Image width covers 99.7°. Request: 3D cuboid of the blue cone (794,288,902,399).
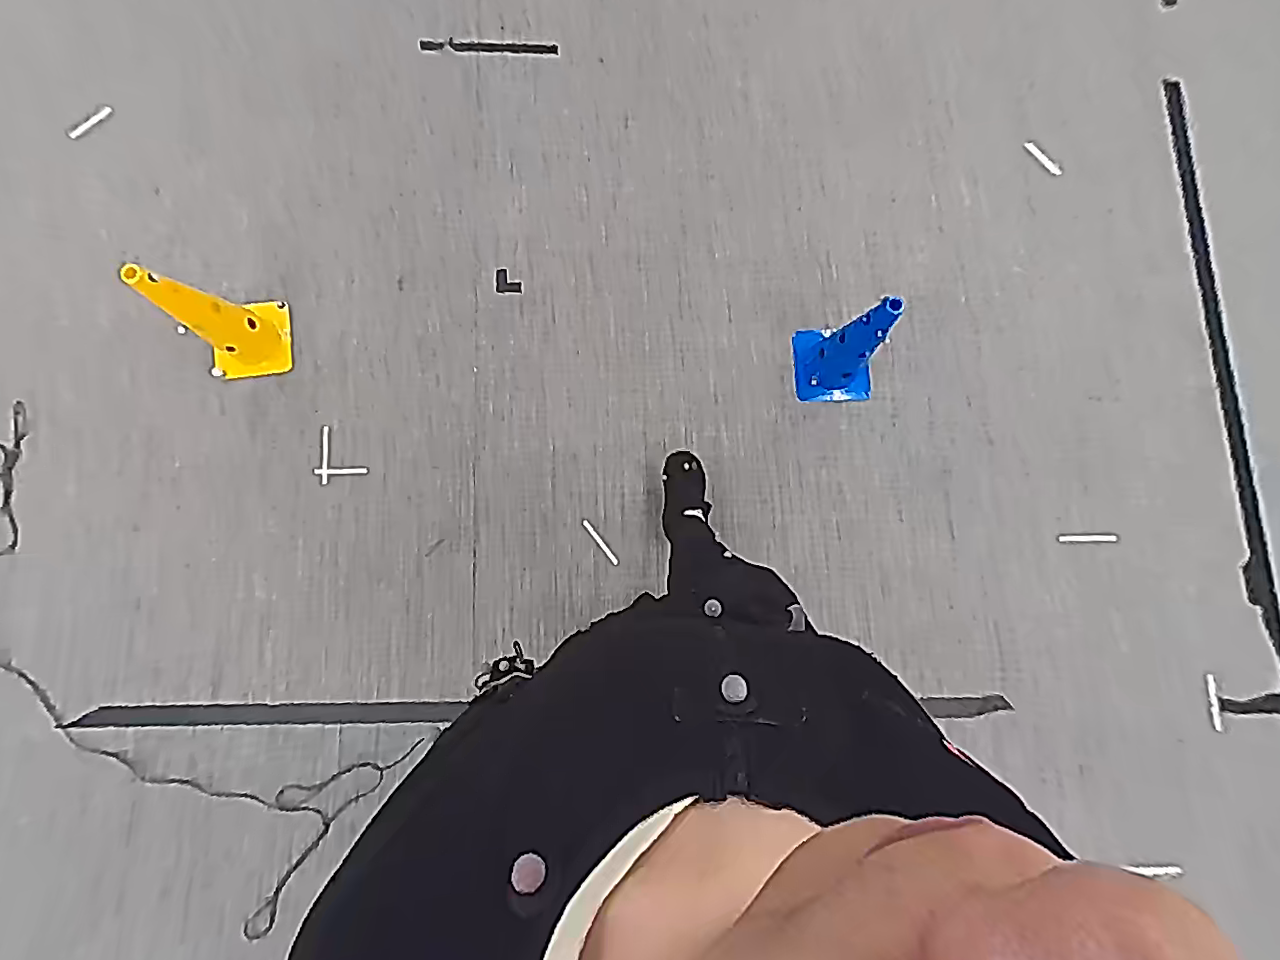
[{"bbox_3d":[0.512,-0.333,1.275,0.193,0.380,0.192,0,81,-1],"label":"blue cone"}]
